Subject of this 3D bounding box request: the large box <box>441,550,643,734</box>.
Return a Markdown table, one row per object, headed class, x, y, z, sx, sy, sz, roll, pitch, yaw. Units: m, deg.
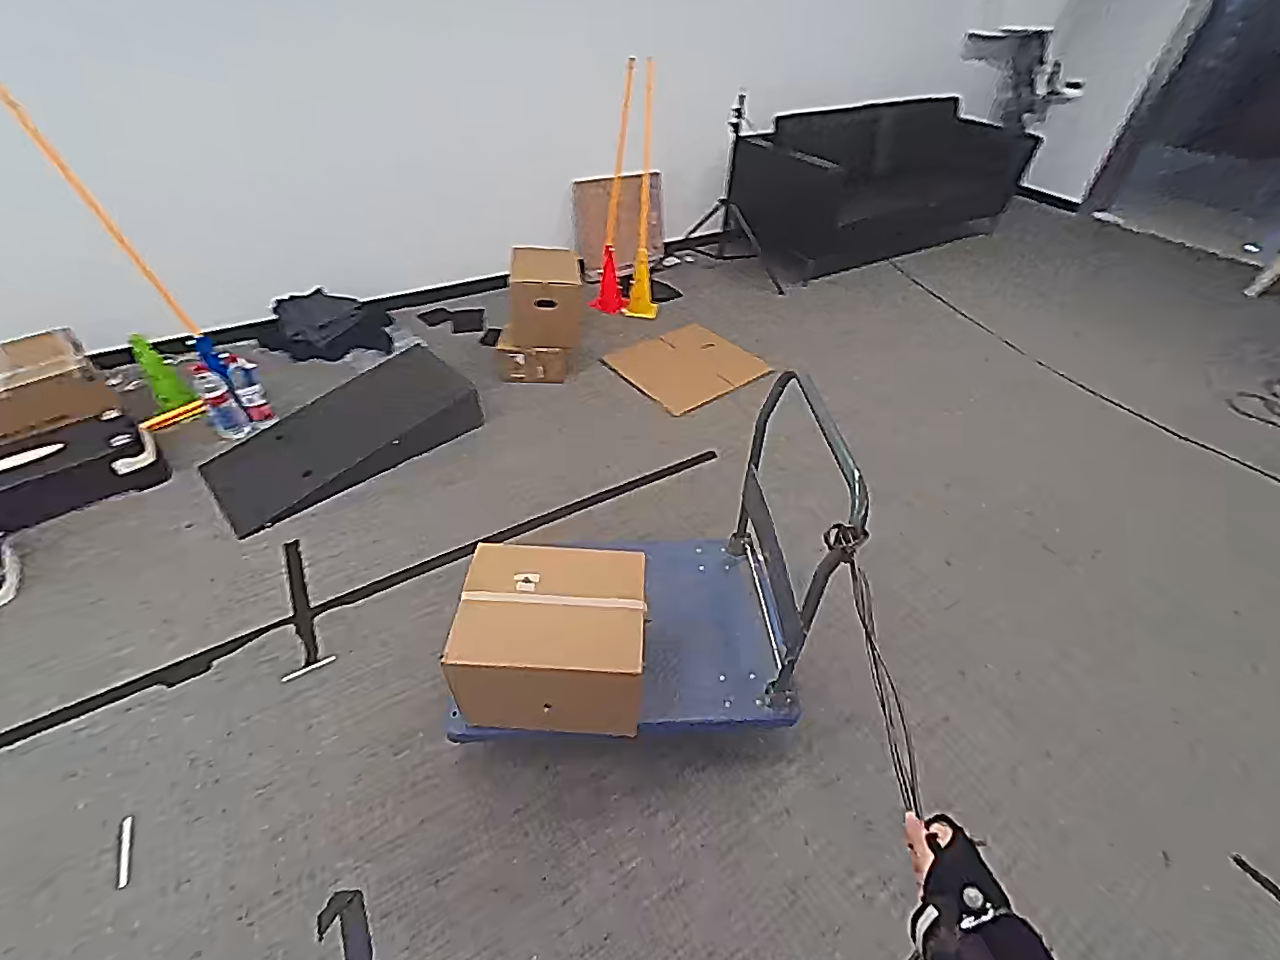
| class | x | y | z | sx | sy | sz | roll | pitch | yaw |
| --- | --- | --- | --- | --- | --- | --- | --- | --- | --- |
| large box | -0.197 | 0.385 | 1.277 | 0.408 | 0.320 | 0.320 | 2 | 43 | 0 |
